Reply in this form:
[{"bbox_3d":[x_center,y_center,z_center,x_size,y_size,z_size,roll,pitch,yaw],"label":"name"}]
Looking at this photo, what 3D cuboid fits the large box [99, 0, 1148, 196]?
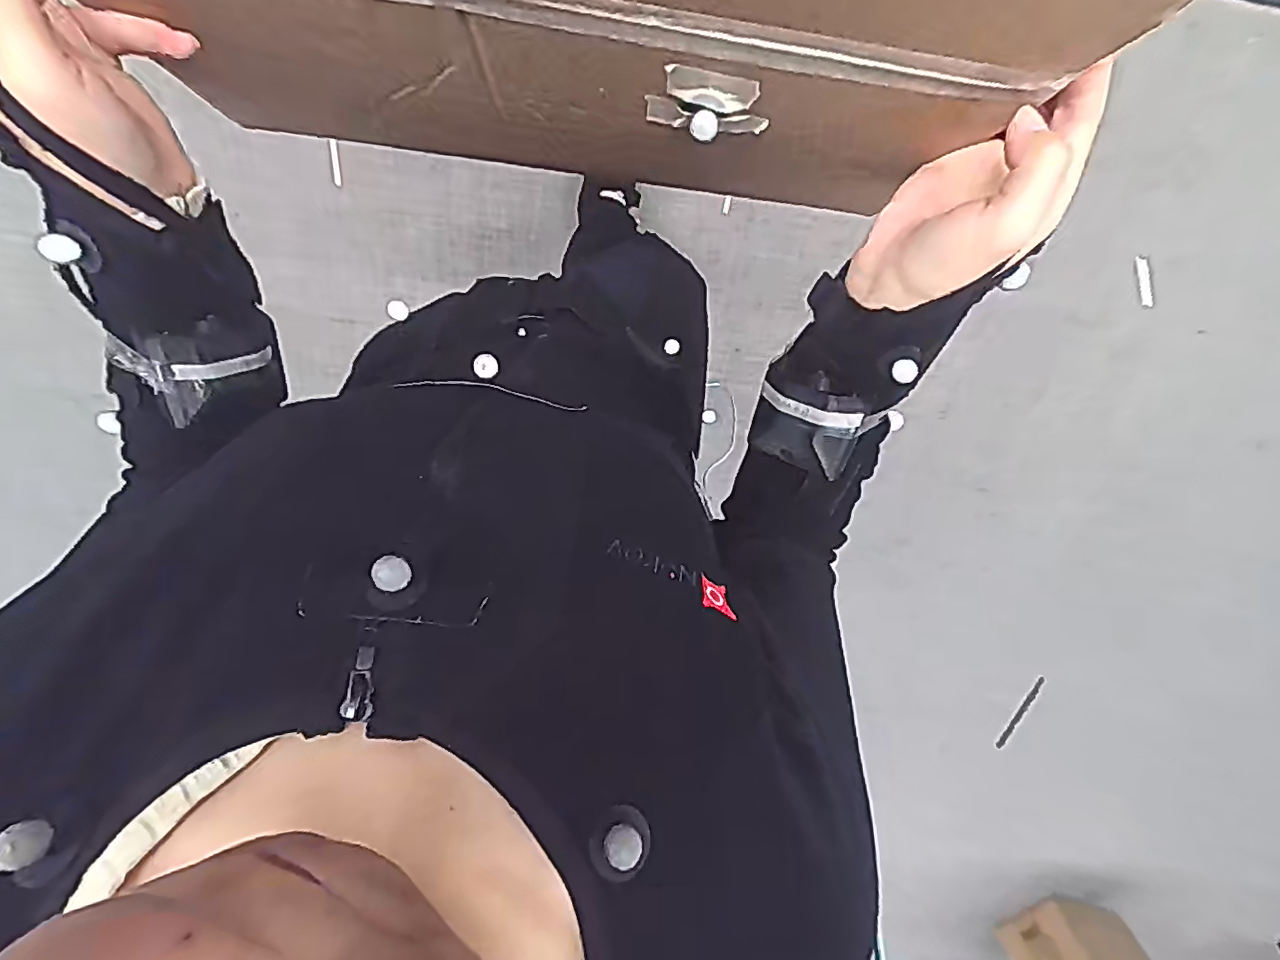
[{"bbox_3d":[-0.017,-0.334,0.180,0.408,0.320,0.320,4,99,-5],"label":"large box"}]
